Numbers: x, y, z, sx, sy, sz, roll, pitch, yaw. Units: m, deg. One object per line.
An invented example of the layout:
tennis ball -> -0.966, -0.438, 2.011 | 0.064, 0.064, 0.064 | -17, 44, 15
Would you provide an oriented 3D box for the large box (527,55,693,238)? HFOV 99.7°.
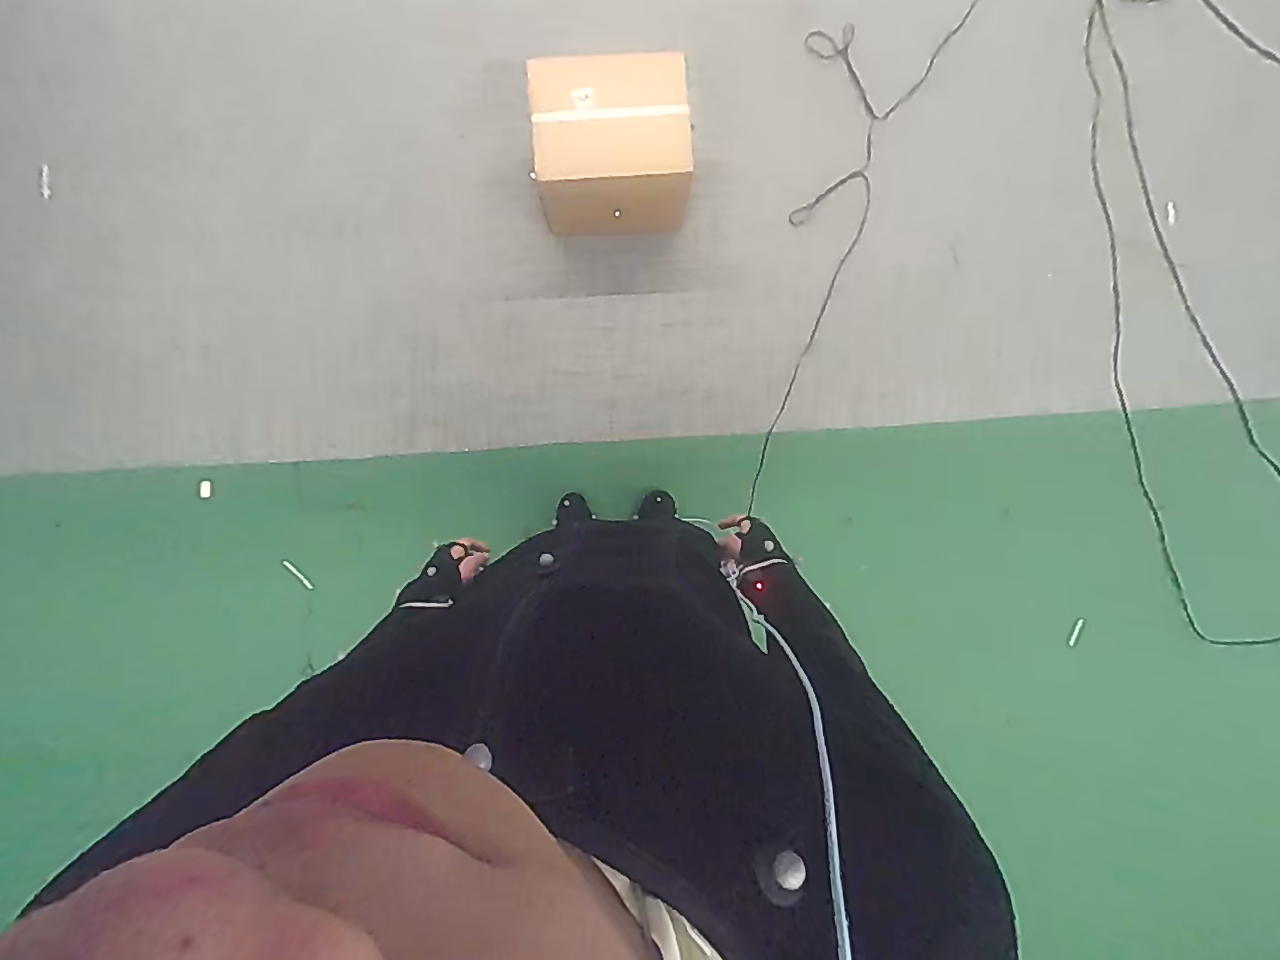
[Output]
large box -> -0.077, -0.916, 1.529 | 0.408, 0.320, 0.320 | -5, 89, 0
